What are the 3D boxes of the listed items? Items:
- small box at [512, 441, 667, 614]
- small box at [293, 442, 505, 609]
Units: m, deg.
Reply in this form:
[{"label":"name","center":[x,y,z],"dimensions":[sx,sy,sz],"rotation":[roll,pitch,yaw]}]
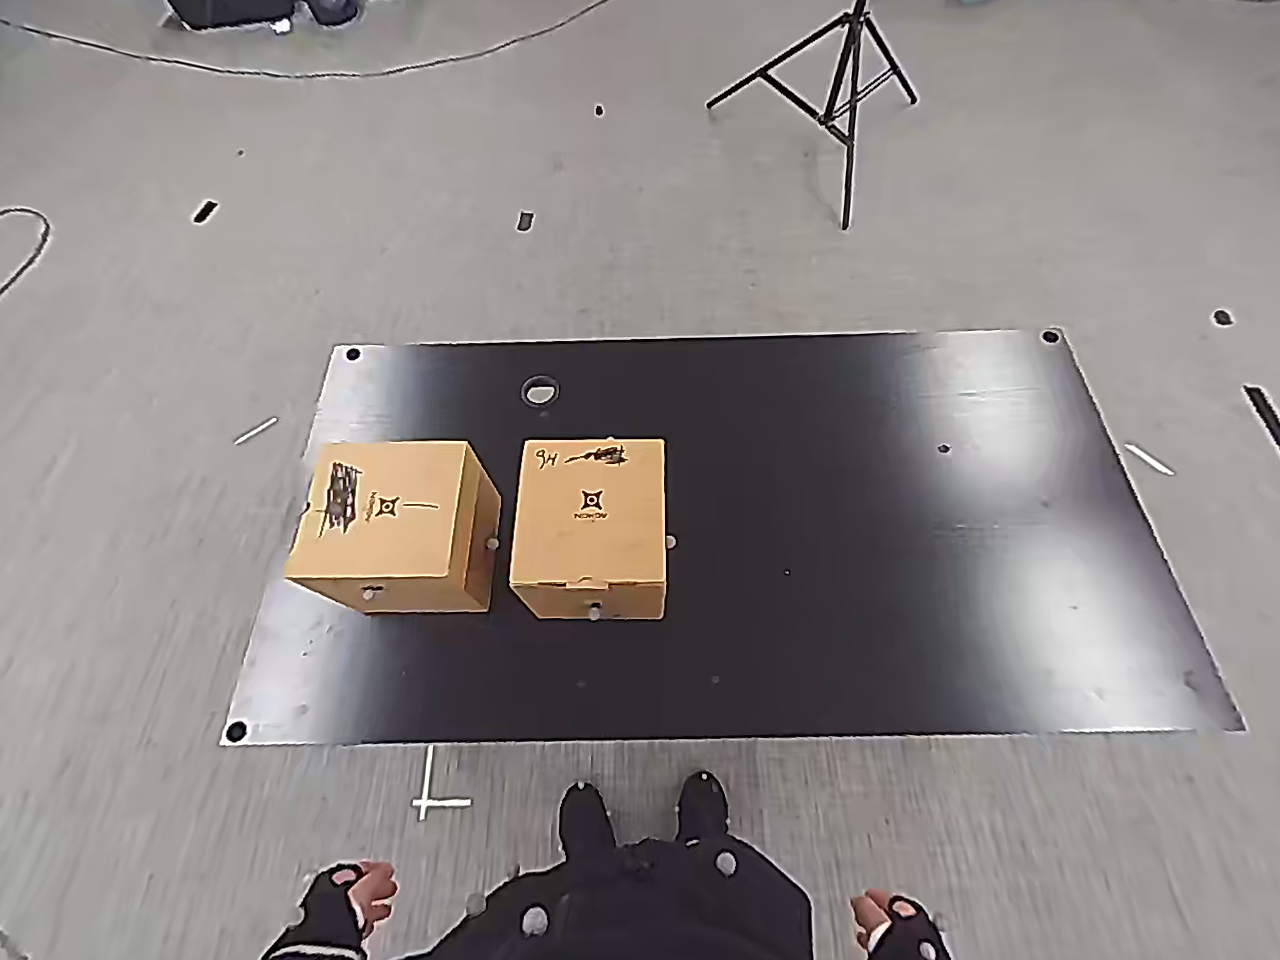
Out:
[{"label":"small box","center":[-0.051,0.067,0.673],"dimensions":[0.168,0.176,0.179],"rotation":[1,65,0]},{"label":"small box","center":[-0.283,0.064,0.679],"dimensions":[0.179,0.176,0.168],"rotation":[0,65,0]}]
